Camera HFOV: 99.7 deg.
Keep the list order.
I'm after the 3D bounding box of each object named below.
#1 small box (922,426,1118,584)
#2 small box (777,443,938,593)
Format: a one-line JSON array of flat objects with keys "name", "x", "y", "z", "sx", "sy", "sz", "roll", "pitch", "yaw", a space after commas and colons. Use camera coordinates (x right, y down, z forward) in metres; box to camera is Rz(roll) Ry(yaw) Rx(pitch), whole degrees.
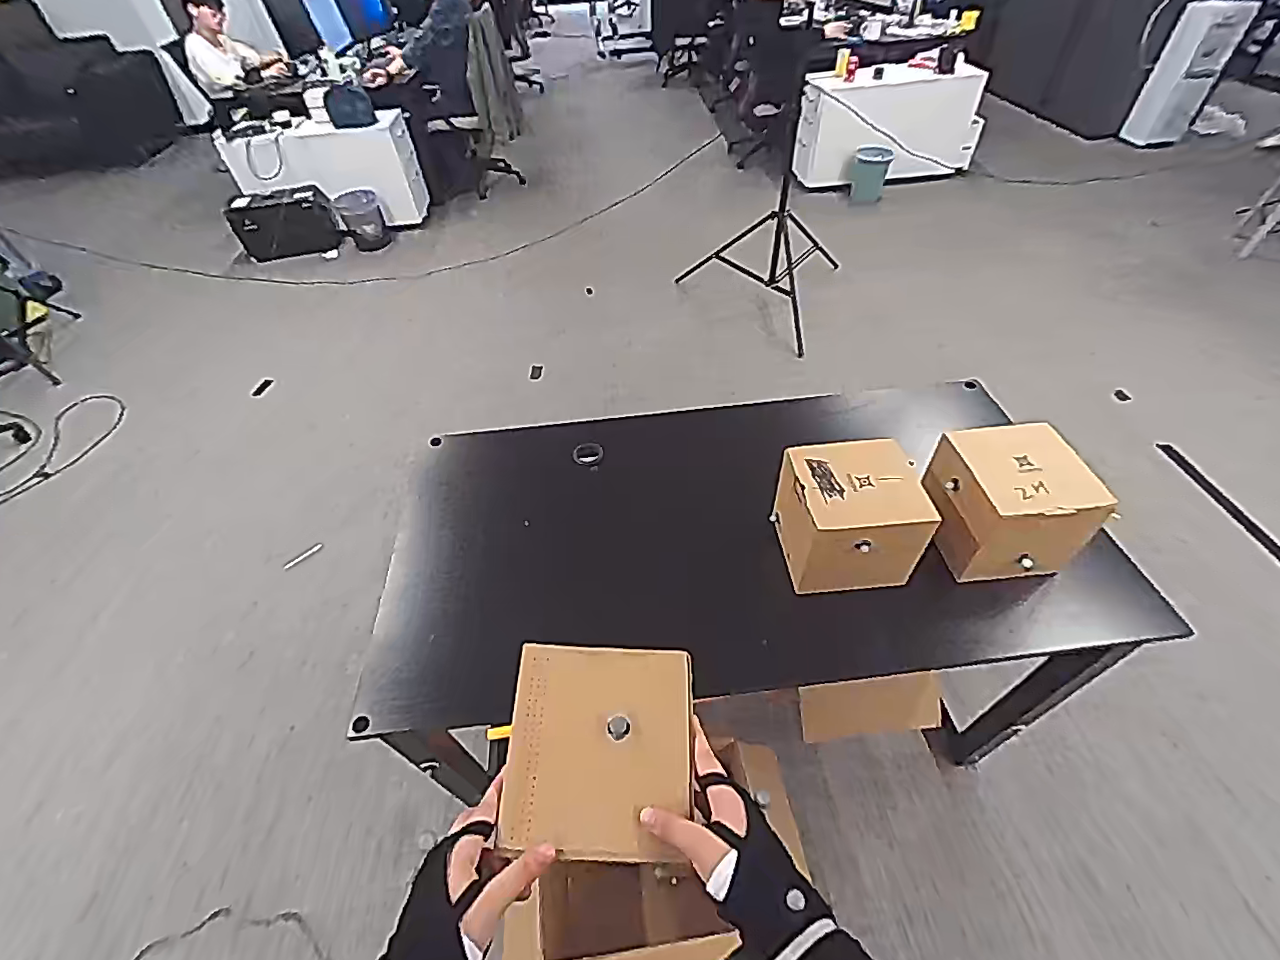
[{"name": "small box", "x": 0.565, "y": 0.039, "z": 0.845, "sx": 0.168, "sy": 0.176, "sz": 0.179, "roll": -6, "pitch": 47, "yaw": 0}, {"name": "small box", "x": 0.320, "y": 0.063, "z": 0.844, "sx": 0.179, "sy": 0.176, "sz": 0.168, "roll": -5, "pitch": 47, "yaw": -1}]
